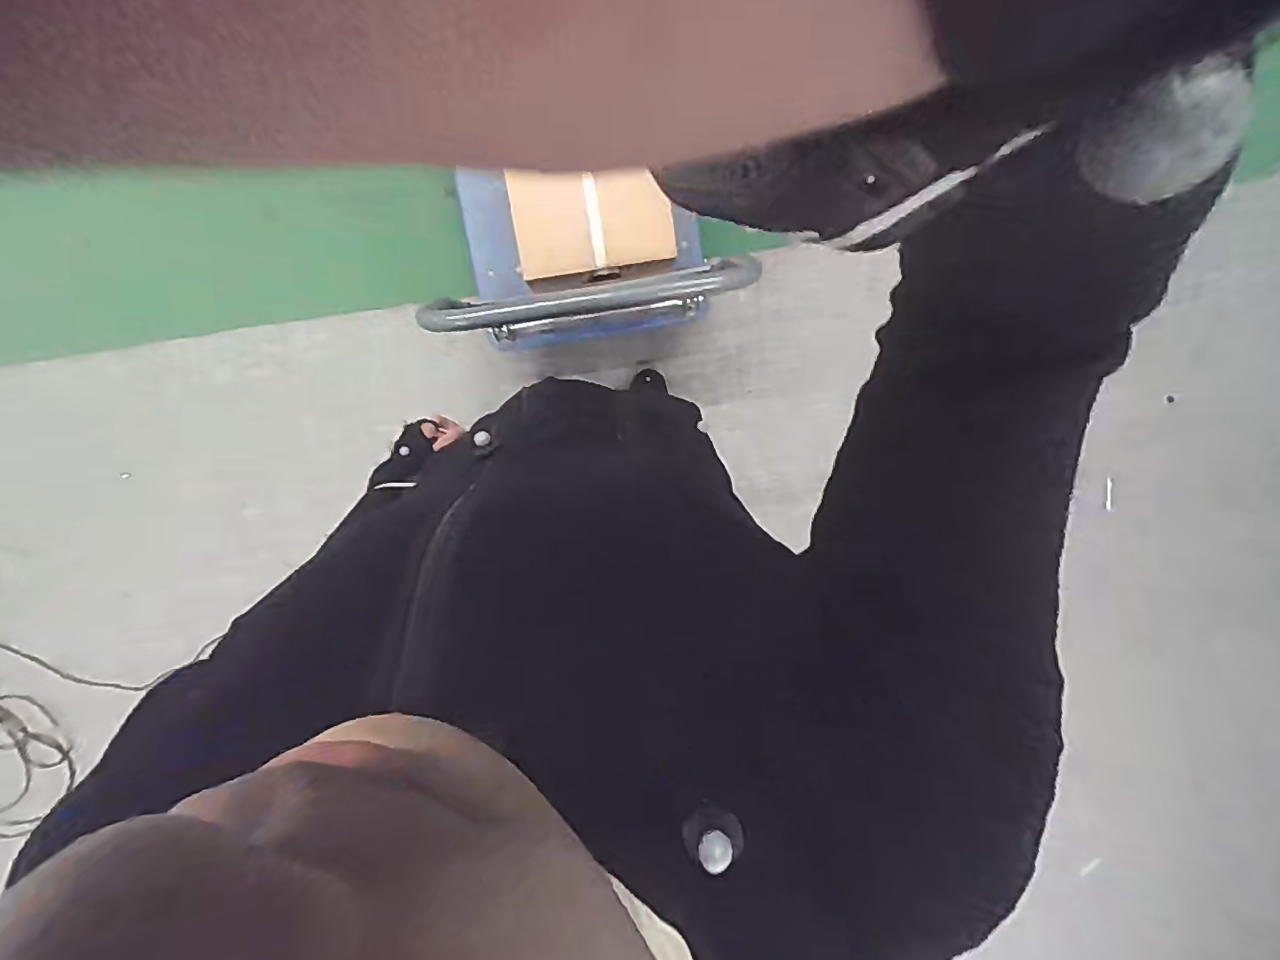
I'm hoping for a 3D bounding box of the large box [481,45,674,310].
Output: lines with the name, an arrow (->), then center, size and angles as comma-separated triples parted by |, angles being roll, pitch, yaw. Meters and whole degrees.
large box -> -0.122, -0.628, 1.197 | 0.320, 0.320, 0.408 | -10, 99, -2
